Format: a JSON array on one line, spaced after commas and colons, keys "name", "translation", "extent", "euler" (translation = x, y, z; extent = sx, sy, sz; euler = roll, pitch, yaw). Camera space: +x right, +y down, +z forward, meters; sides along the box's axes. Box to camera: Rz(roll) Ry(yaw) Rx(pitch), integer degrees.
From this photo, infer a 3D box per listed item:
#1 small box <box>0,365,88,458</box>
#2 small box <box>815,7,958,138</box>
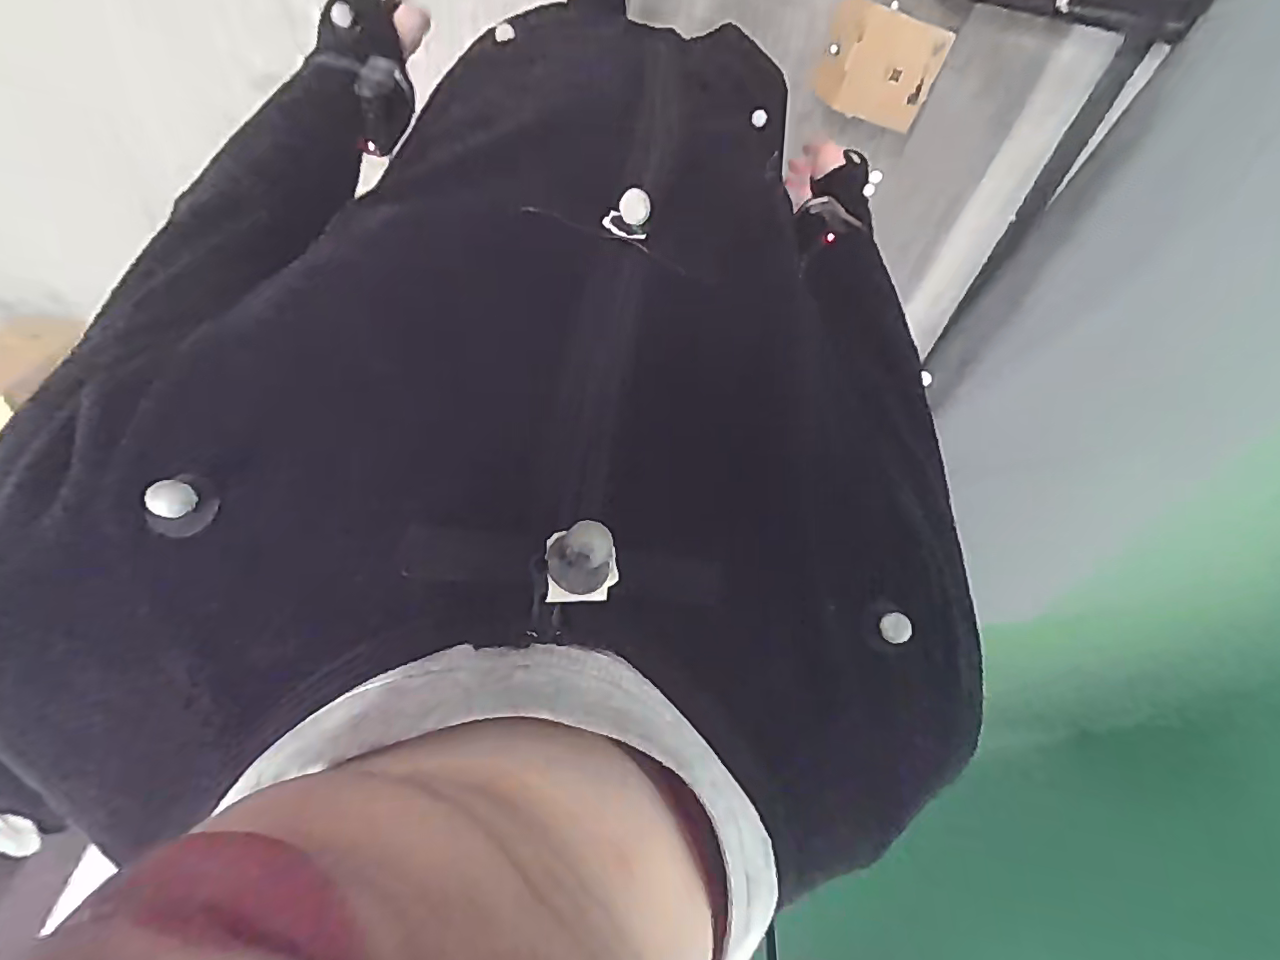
[{"name": "small box", "translation": [-1.579, -0.177, 1.377], "extent": [0.179, 0.176, 0.168], "euler": [6, 133, -8]}, {"name": "small box", "translation": [0.481, -0.822, 1.089], "extent": [0.179, 0.176, 0.168], "euler": [9, 133, -13]}]
